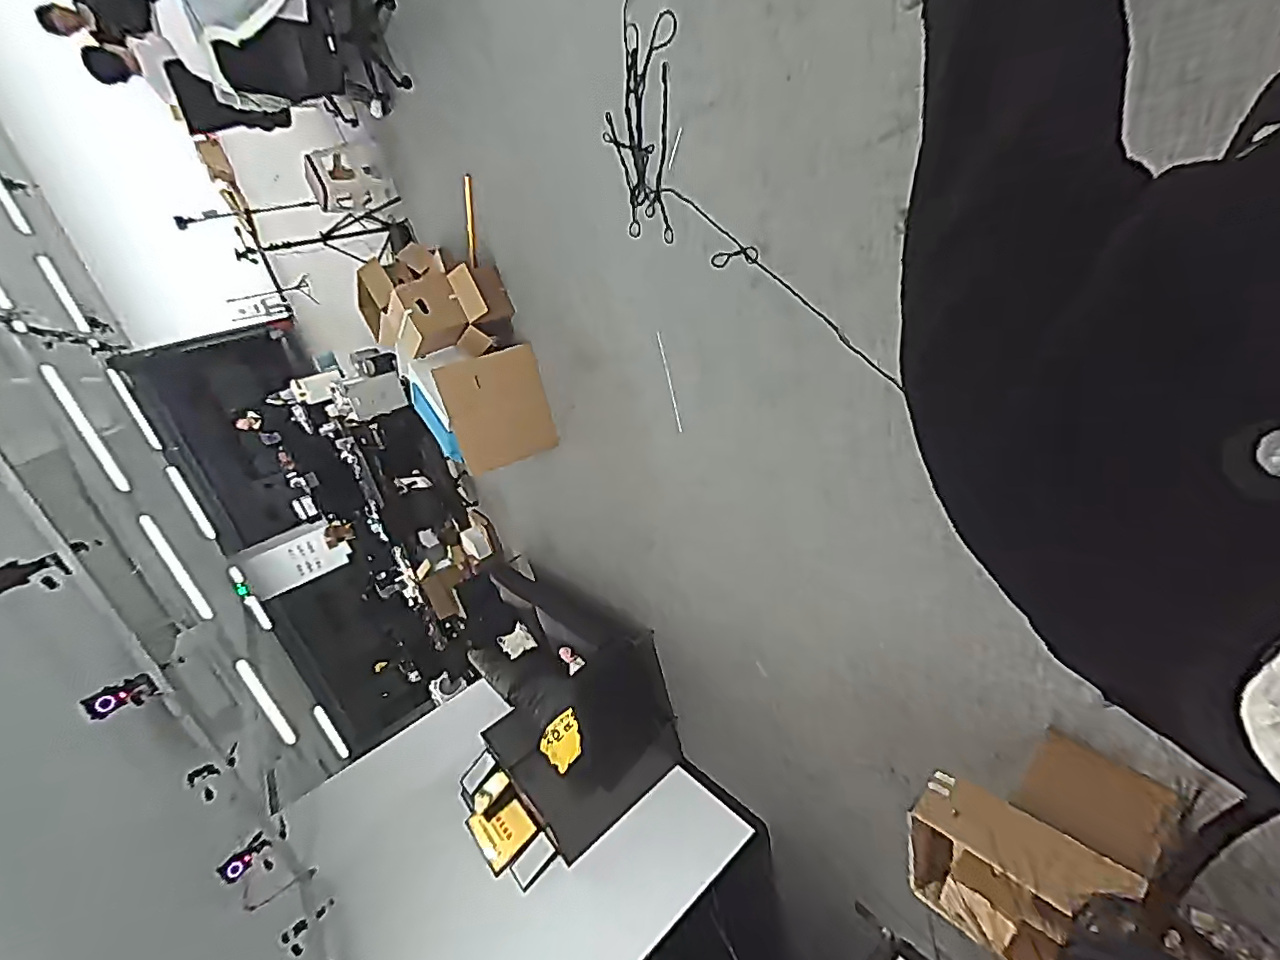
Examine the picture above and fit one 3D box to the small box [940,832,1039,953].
[{"bbox_3d":[0.956,1.116,1.476,0.168,0.176,0.179,27,134,43],"label":"small box"}]
